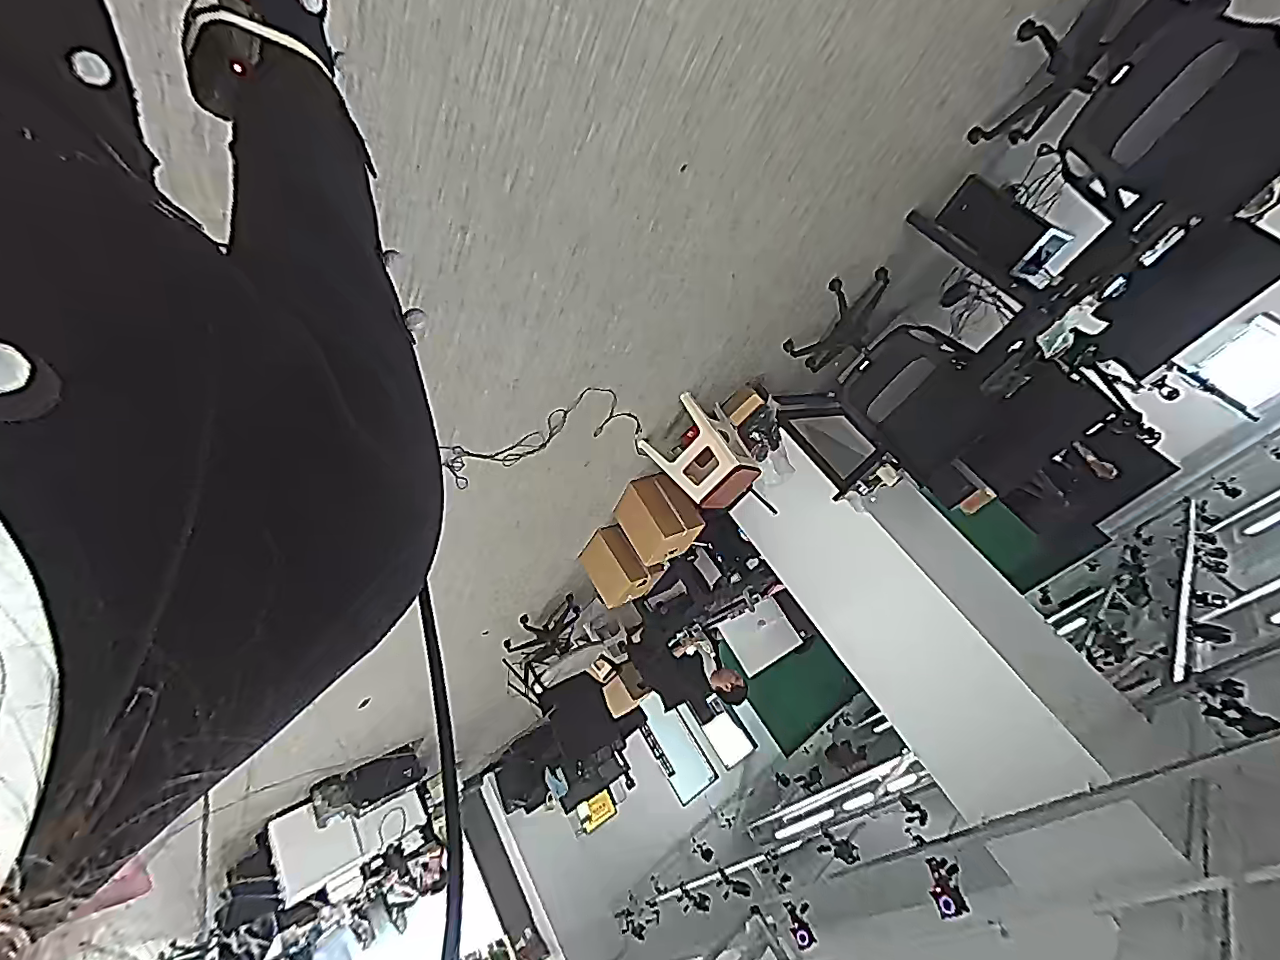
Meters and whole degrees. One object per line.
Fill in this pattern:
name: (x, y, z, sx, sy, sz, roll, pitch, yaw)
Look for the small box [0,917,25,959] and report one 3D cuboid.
small box: (-1.604, 1.193, 1.281, 0.179, 0.176, 0.168, -13, 147, -41)
